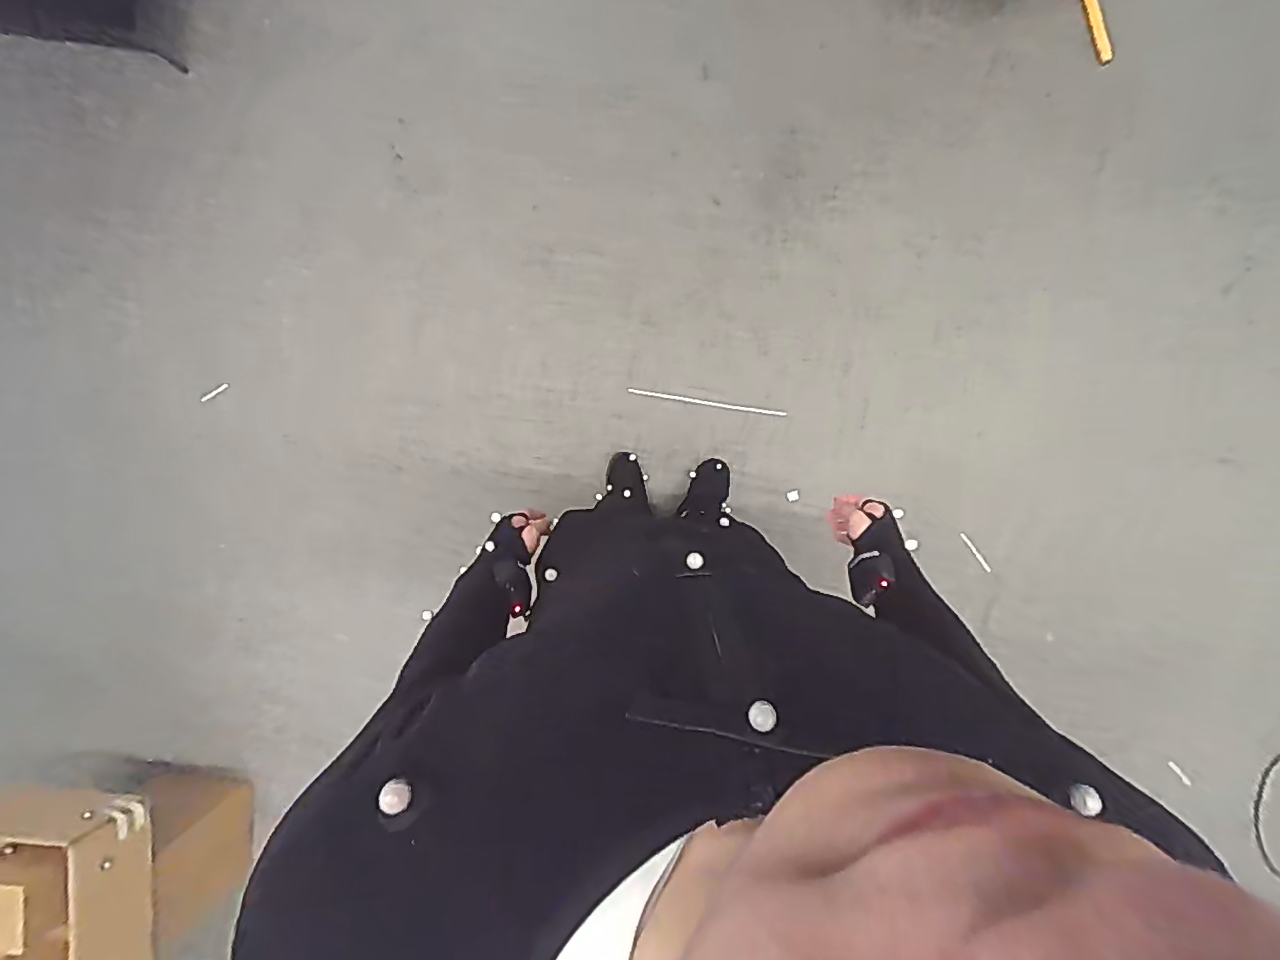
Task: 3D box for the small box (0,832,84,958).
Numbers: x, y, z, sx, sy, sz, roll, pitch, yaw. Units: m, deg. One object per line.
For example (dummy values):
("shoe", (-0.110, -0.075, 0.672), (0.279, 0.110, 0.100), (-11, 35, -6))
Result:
("small box", (-1.462, 0.953, 1.251), (0.179, 0.176, 0.168), (5, 94, 2))
